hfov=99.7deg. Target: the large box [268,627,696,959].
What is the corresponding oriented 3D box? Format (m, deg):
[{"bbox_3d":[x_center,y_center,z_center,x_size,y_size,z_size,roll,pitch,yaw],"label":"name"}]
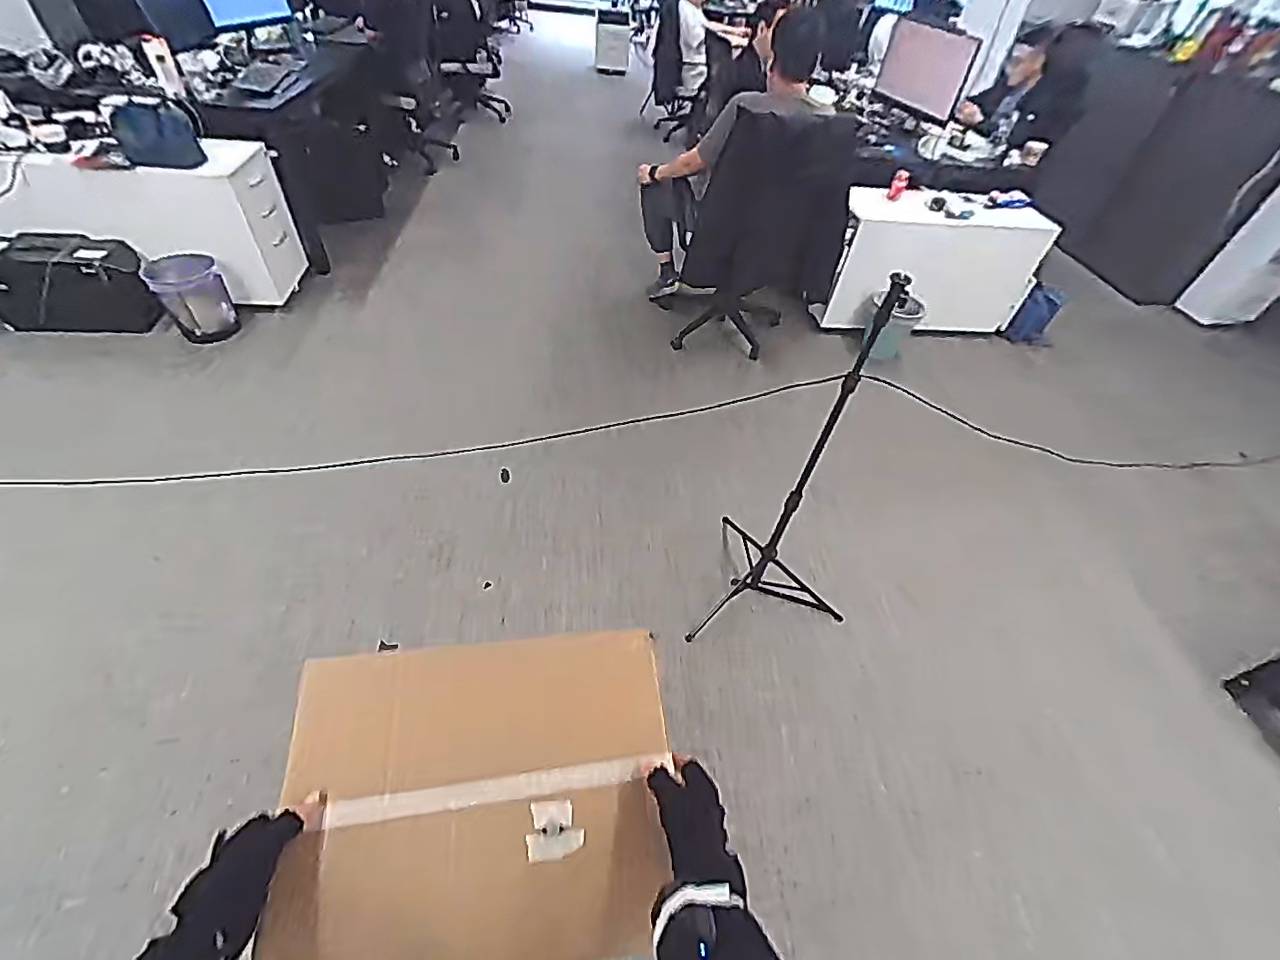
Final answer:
[{"bbox_3d":[-0.182,0.410,0.705,0.408,0.320,0.320,-2,58,-12],"label":"large box"}]
